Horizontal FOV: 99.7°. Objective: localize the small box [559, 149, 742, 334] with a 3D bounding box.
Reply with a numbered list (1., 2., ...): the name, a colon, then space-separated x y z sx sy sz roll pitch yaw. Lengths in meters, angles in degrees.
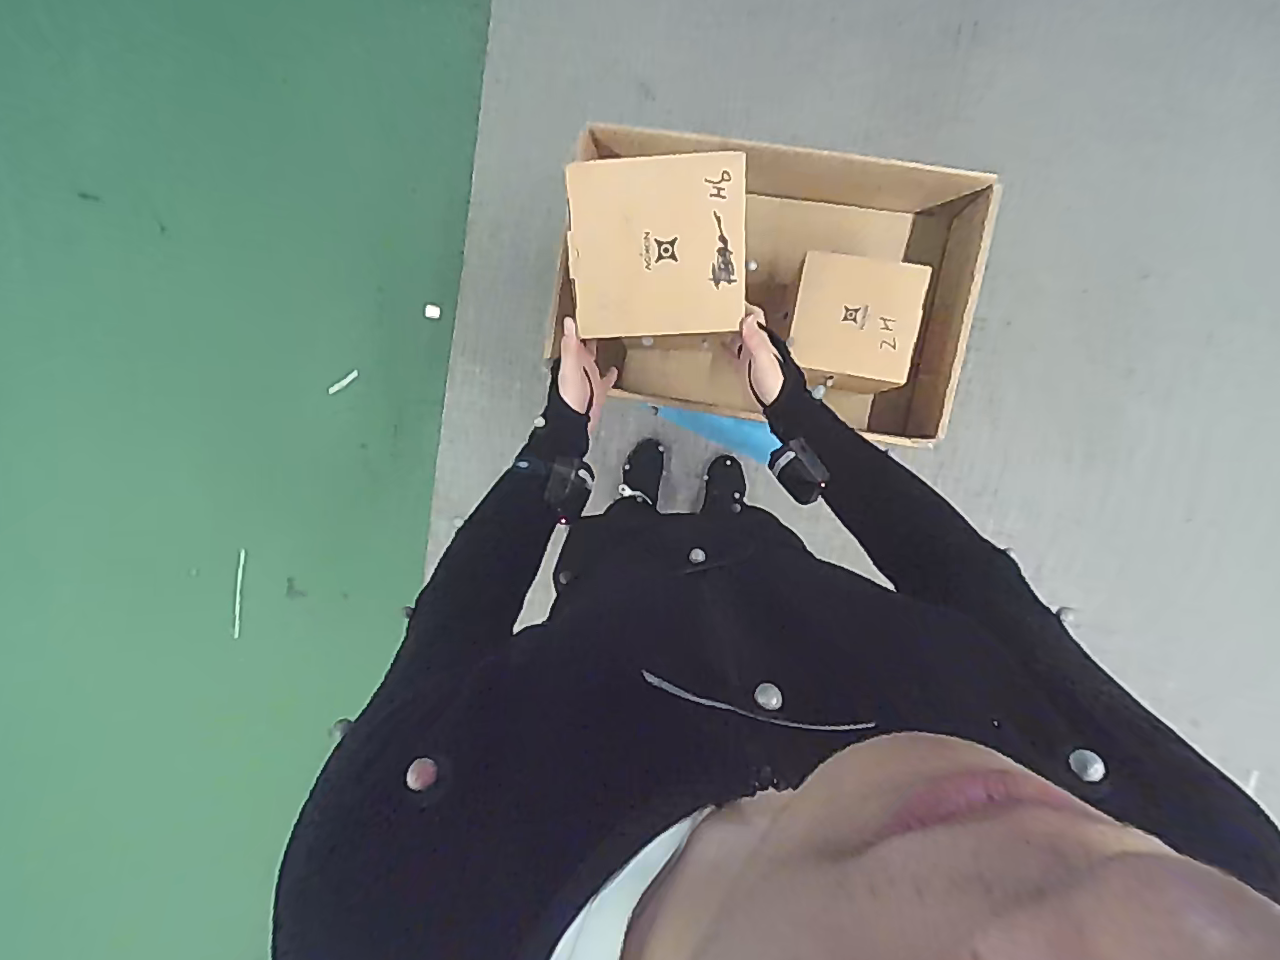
1. small box: 0.016 -0.250 0.607 0.179 0.176 0.168 -2 107 3
